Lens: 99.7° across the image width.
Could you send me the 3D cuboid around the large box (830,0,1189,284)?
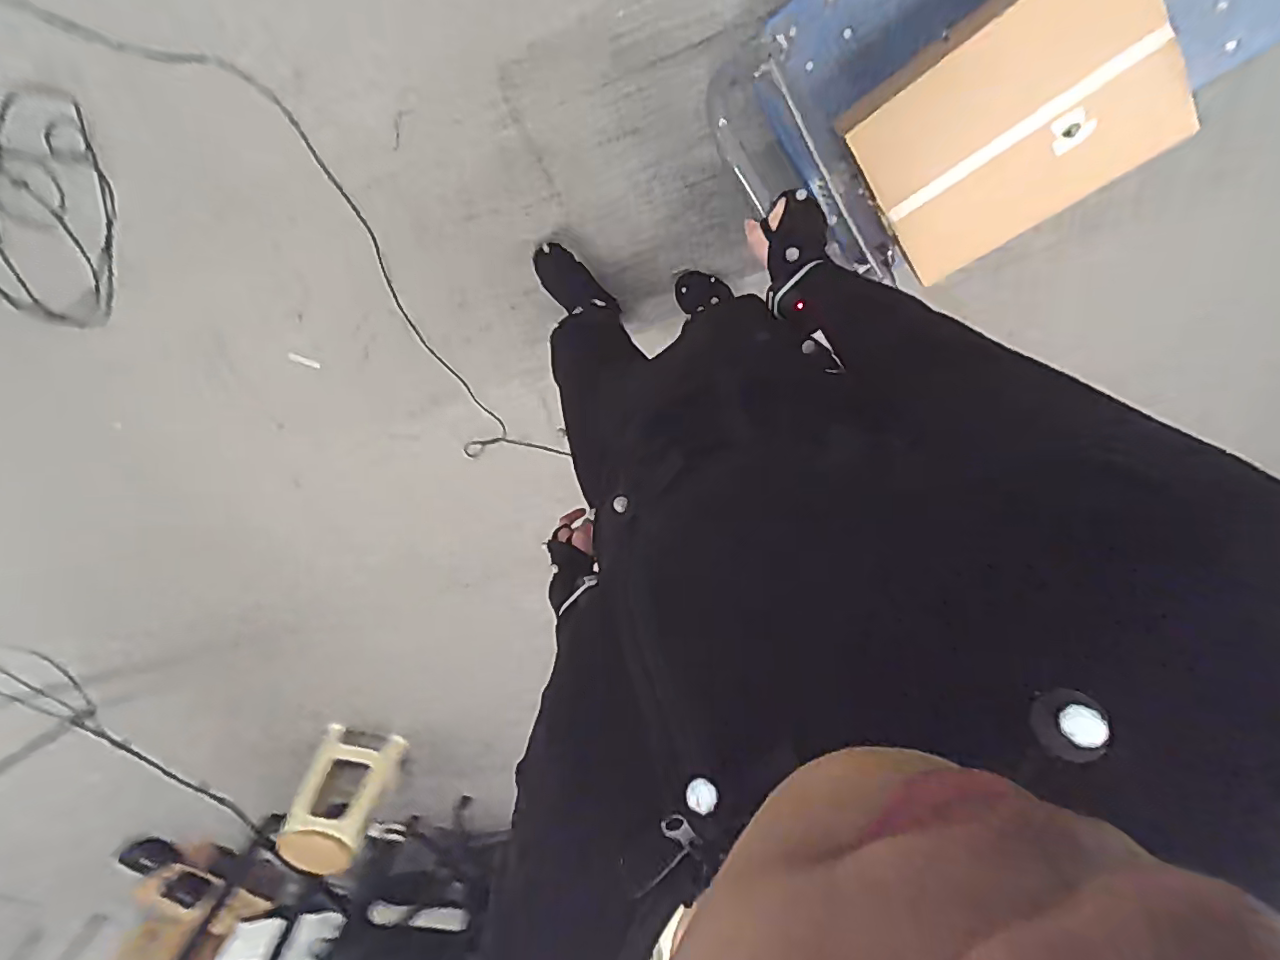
[{"bbox_3d":[0.608,-0.635,0.971,0.408,0.320,0.320,-29,115,30],"label":"large box"}]
